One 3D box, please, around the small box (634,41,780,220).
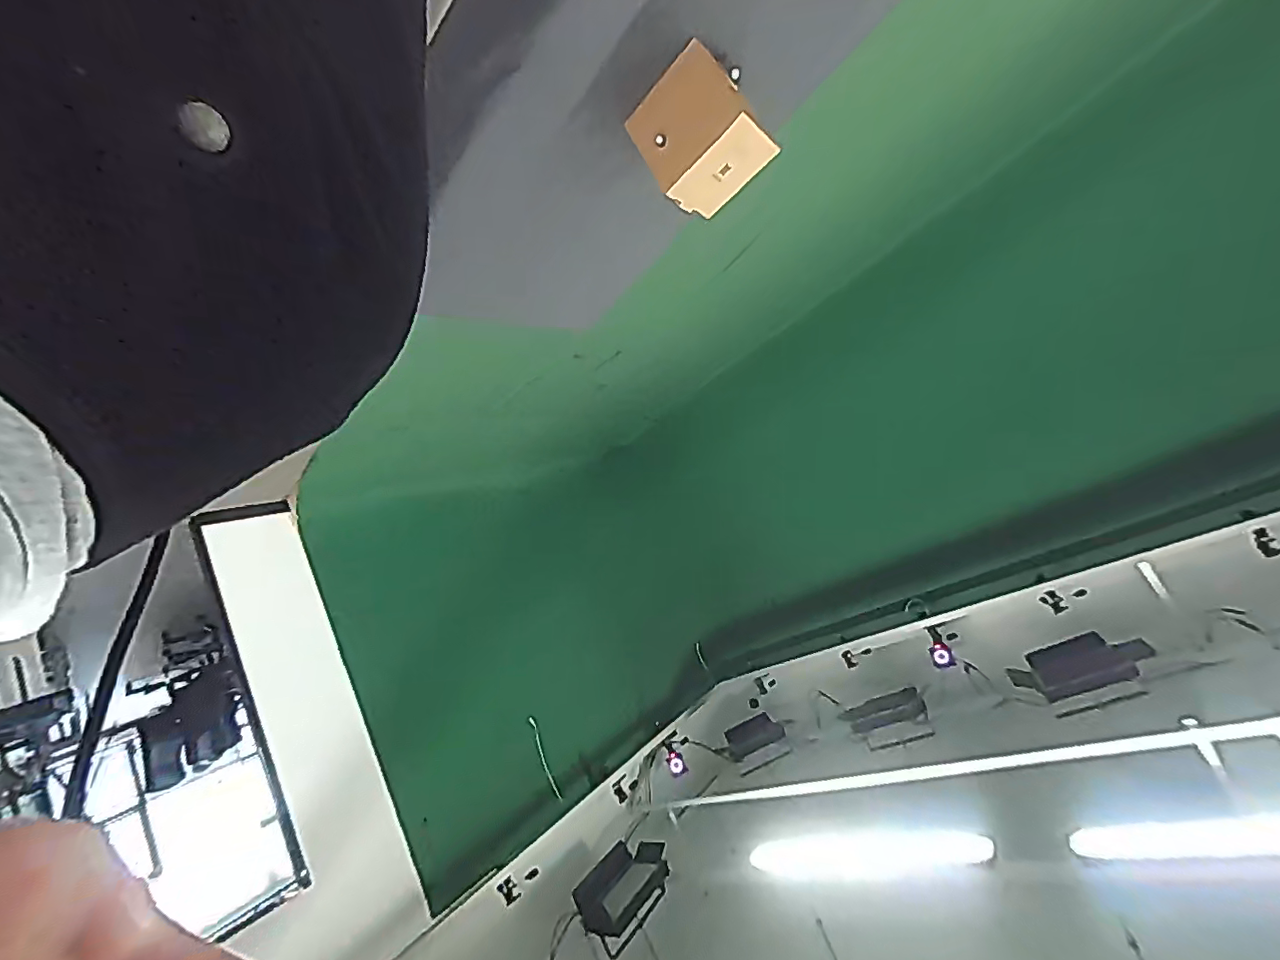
[{"bbox_3d":[0.111,-0.614,0.968,0.179,0.176,0.168,-36,167,34],"label":"small box"}]
